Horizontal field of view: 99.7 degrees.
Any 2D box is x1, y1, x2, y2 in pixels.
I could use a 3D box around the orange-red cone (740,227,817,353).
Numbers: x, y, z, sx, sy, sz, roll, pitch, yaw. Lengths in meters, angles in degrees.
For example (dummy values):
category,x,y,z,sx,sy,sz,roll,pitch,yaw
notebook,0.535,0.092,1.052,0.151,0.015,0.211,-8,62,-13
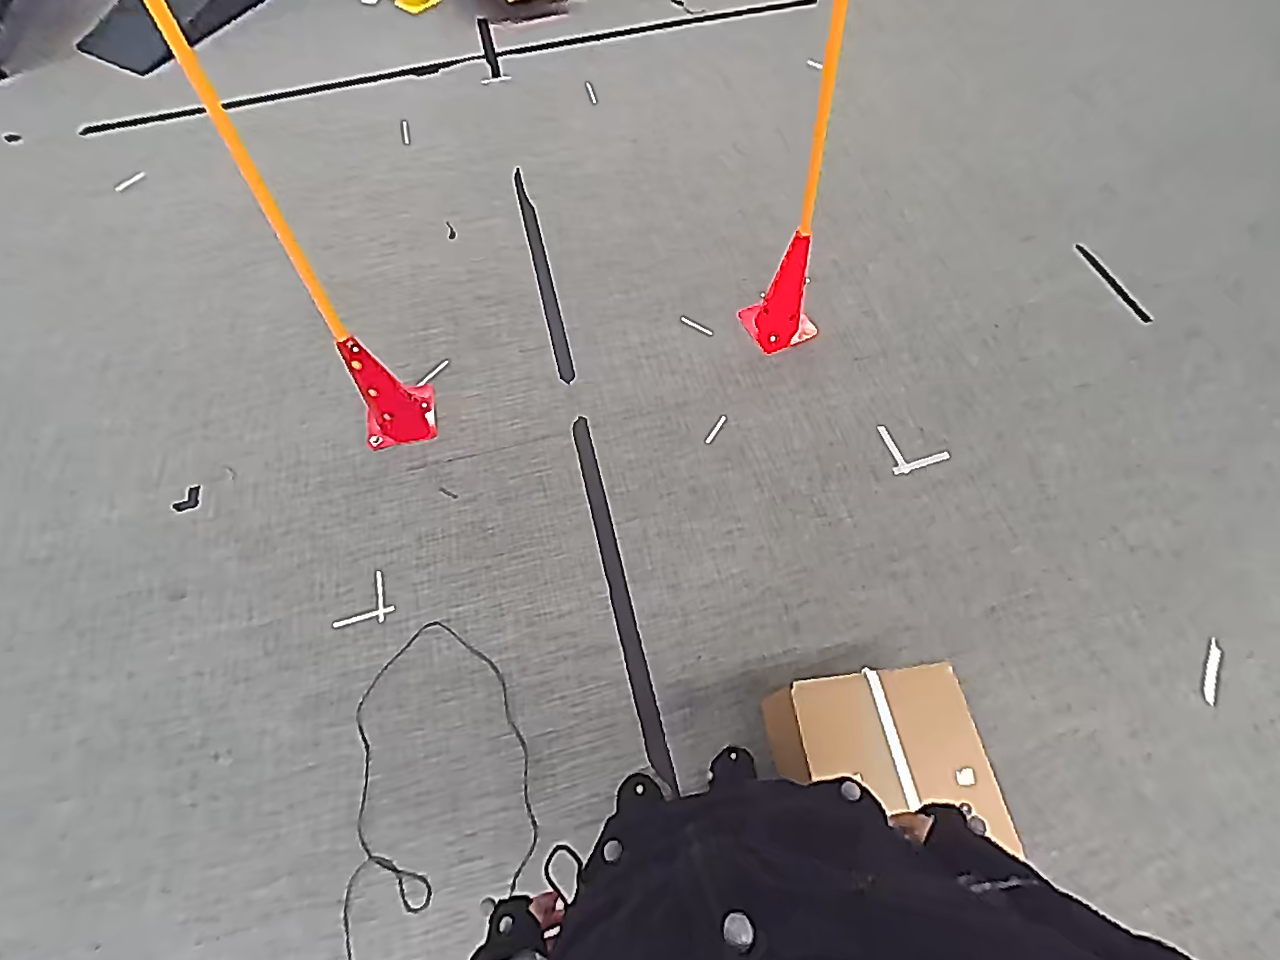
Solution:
category,x,y,z,sx,sy,sz,roll,pitch,yaw
orange-red cone,0.443,-0.580,1.585,0.199,0.360,0.198,-22,66,-10
